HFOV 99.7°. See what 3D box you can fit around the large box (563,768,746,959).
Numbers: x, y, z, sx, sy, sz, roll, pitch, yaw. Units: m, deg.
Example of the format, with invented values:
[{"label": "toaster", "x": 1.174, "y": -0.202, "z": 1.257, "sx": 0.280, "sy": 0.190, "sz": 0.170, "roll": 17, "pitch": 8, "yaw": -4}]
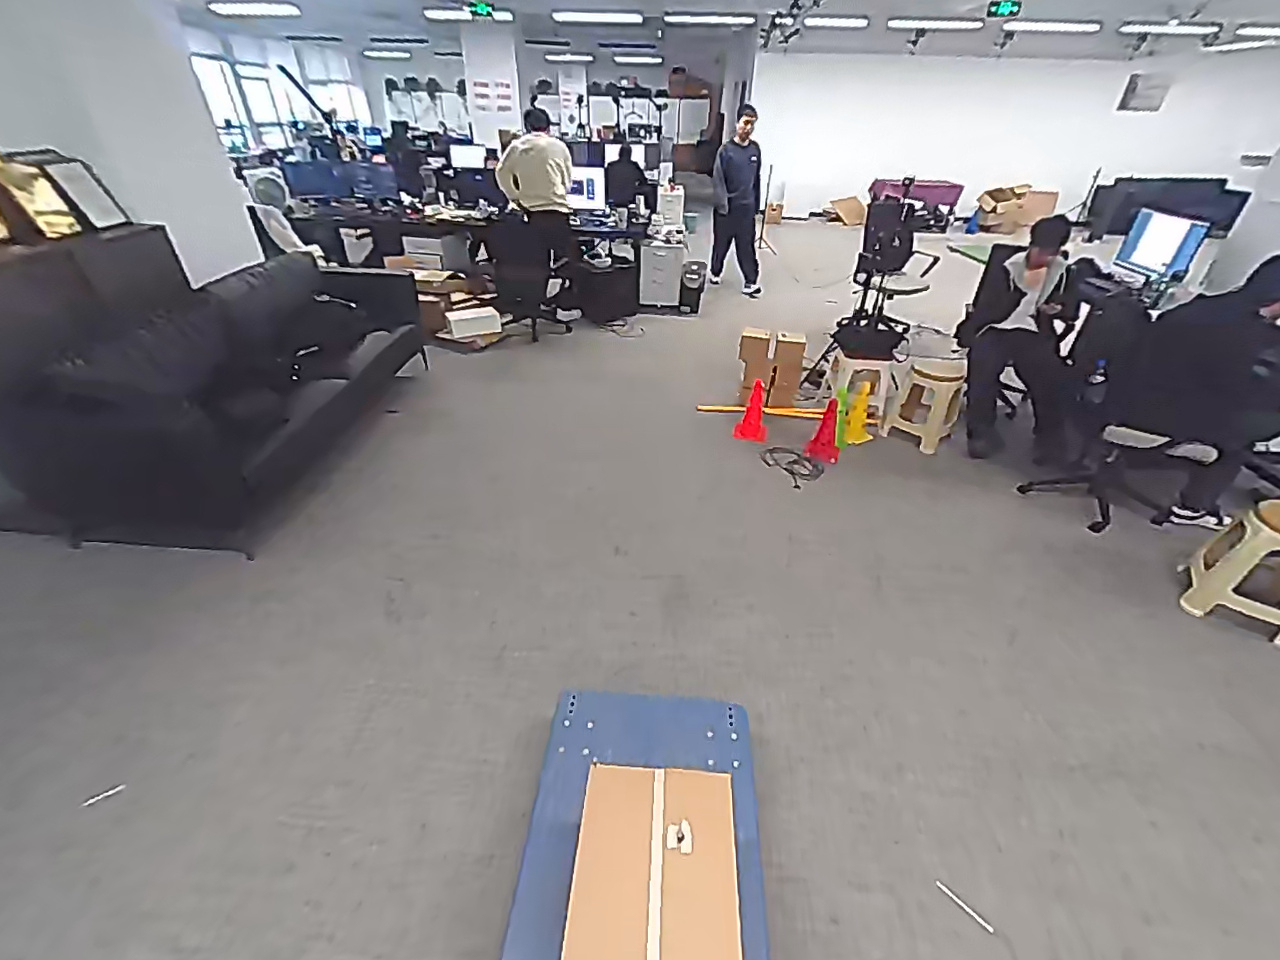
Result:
[{"label": "large box", "x": 0.030, "y": 0.871, "z": 1.095, "sx": 0.320, "sy": 0.320, "sz": 0.408, "roll": 3, "pitch": 34, "yaw": 3}]
